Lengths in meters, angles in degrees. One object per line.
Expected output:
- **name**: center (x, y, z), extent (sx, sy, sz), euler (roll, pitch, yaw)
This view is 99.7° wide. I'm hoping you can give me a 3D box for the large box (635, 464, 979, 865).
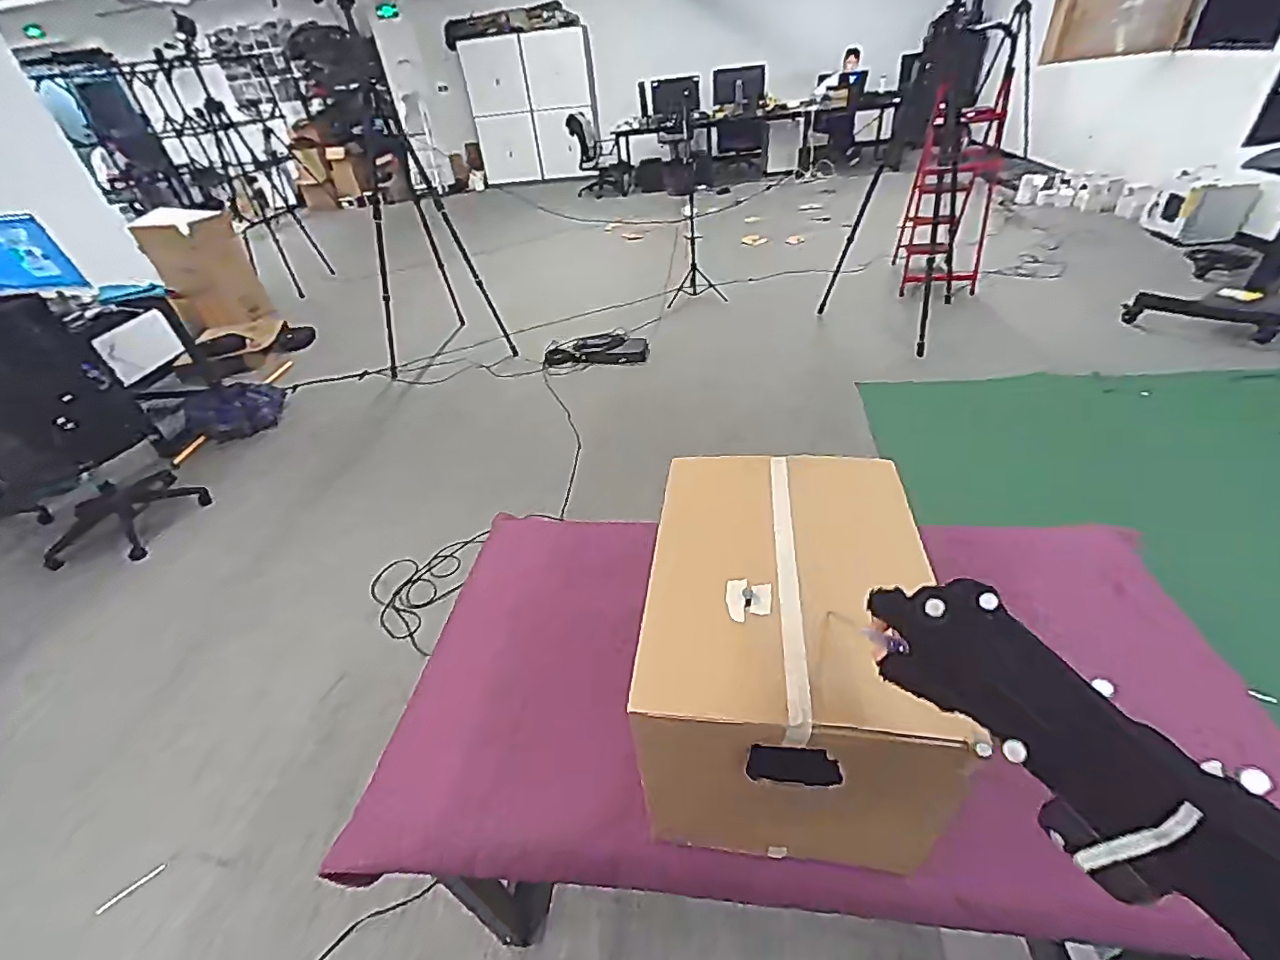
- **large box**: center (0.182, 0.222, 0.734), extent (0.320, 0.320, 0.408), euler (1, 39, 10)
